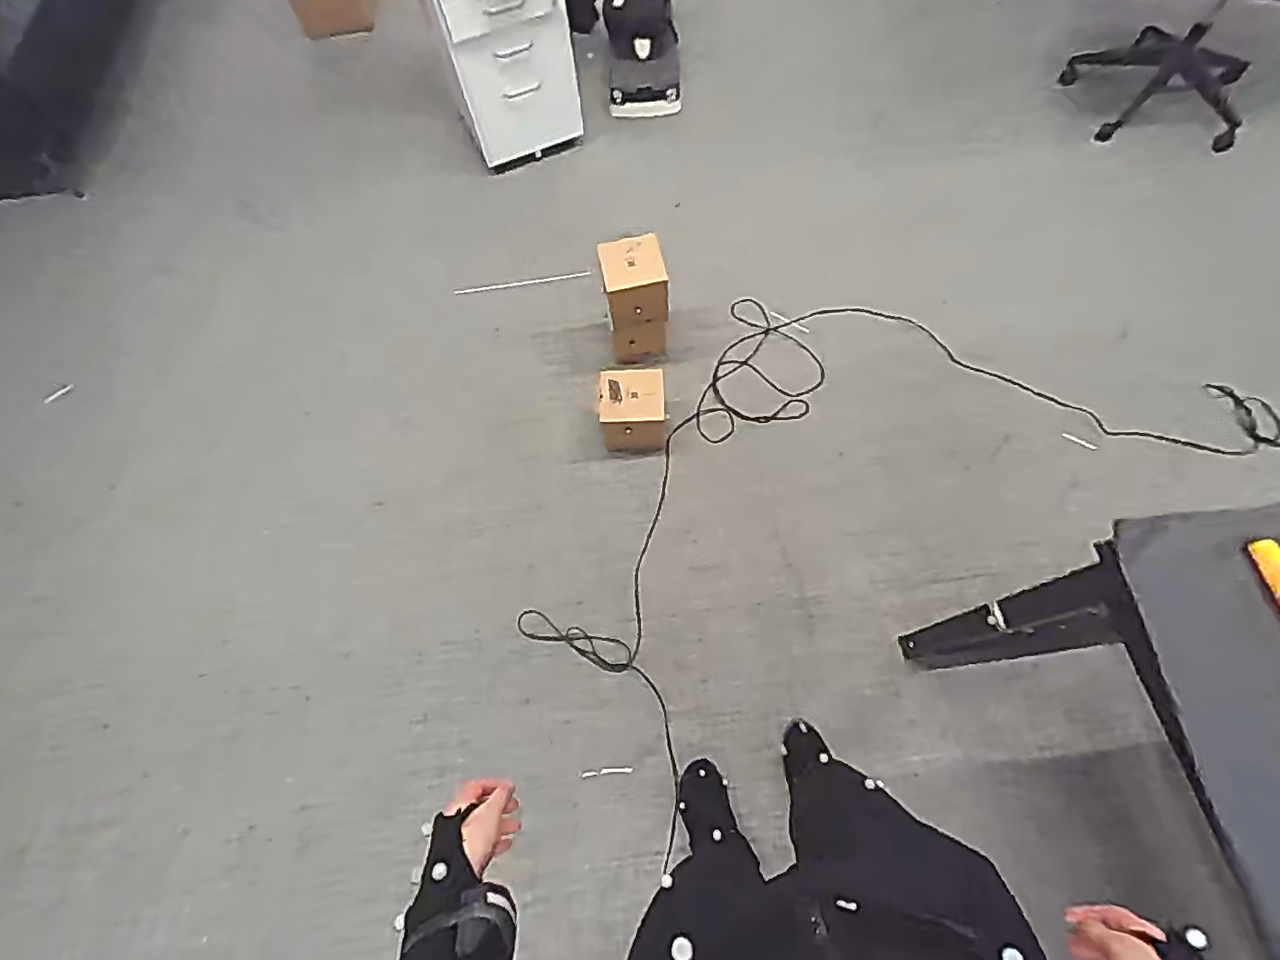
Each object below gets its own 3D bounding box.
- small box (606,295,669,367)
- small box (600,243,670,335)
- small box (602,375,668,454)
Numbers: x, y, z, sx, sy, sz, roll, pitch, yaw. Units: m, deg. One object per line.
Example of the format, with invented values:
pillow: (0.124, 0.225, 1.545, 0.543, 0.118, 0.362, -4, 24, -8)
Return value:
small box: (-0.005, -0.471, 1.686, 0.168, 0.176, 0.179, -11, 65, 0)
small box: (-0.011, -0.533, 1.533, 0.168, 0.176, 0.179, -12, 65, -1)
small box: (-0.010, -0.182, 1.554, 0.179, 0.176, 0.168, -2, 66, 2)
